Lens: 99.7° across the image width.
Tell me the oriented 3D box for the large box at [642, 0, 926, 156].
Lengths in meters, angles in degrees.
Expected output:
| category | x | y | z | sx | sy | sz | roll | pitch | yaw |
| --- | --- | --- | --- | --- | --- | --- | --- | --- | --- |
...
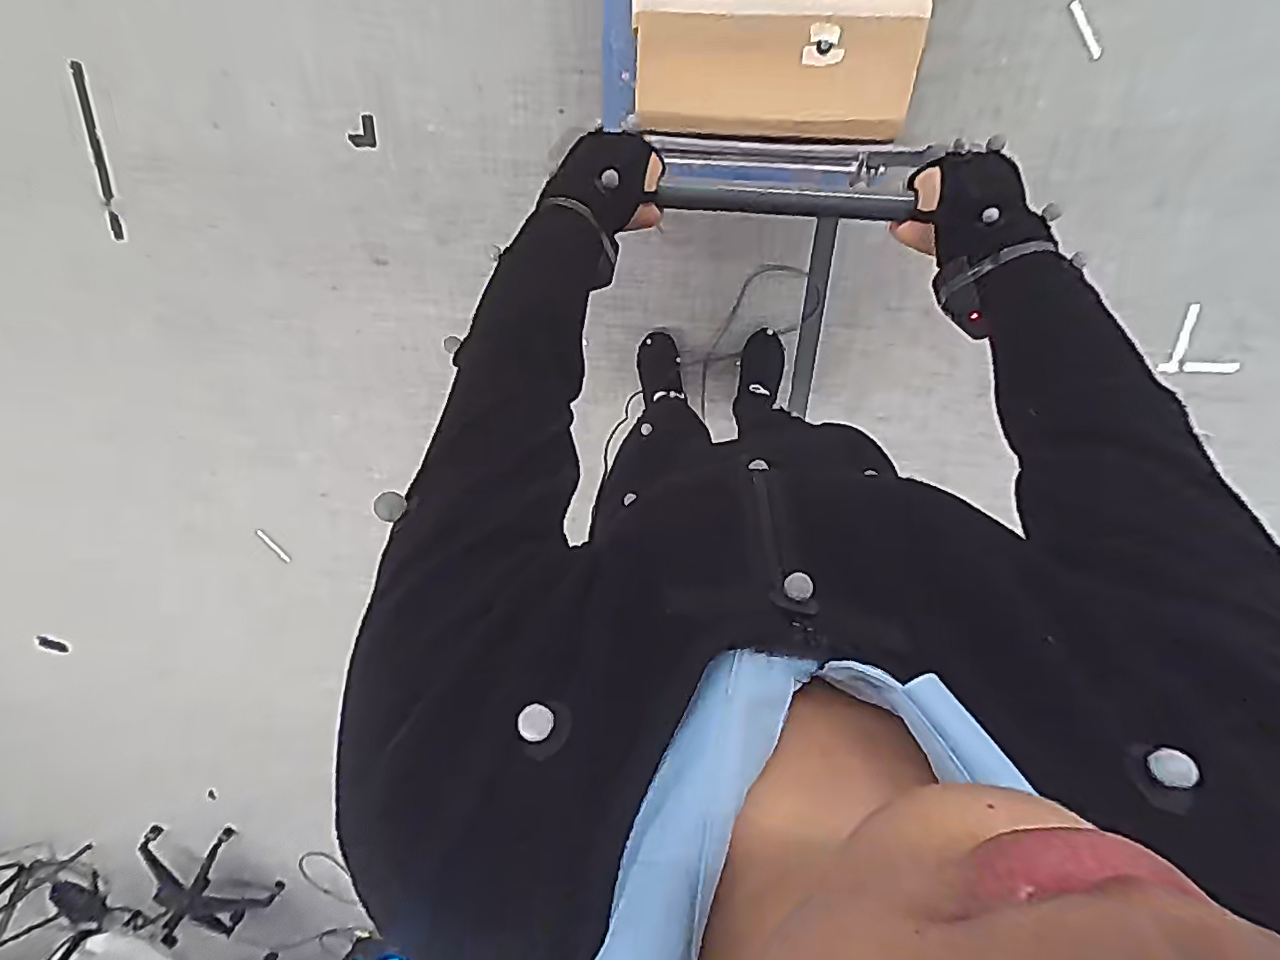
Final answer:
| category | x | y | z | sx | sy | sz | roll | pitch | yaw |
| --- | --- | --- | --- | --- | --- | --- | --- | --- | --- |
| large box | 0.214 | -0.738 | 0.906 | 0.408 | 0.320 | 0.320 | 4 | 117 | 4 |
